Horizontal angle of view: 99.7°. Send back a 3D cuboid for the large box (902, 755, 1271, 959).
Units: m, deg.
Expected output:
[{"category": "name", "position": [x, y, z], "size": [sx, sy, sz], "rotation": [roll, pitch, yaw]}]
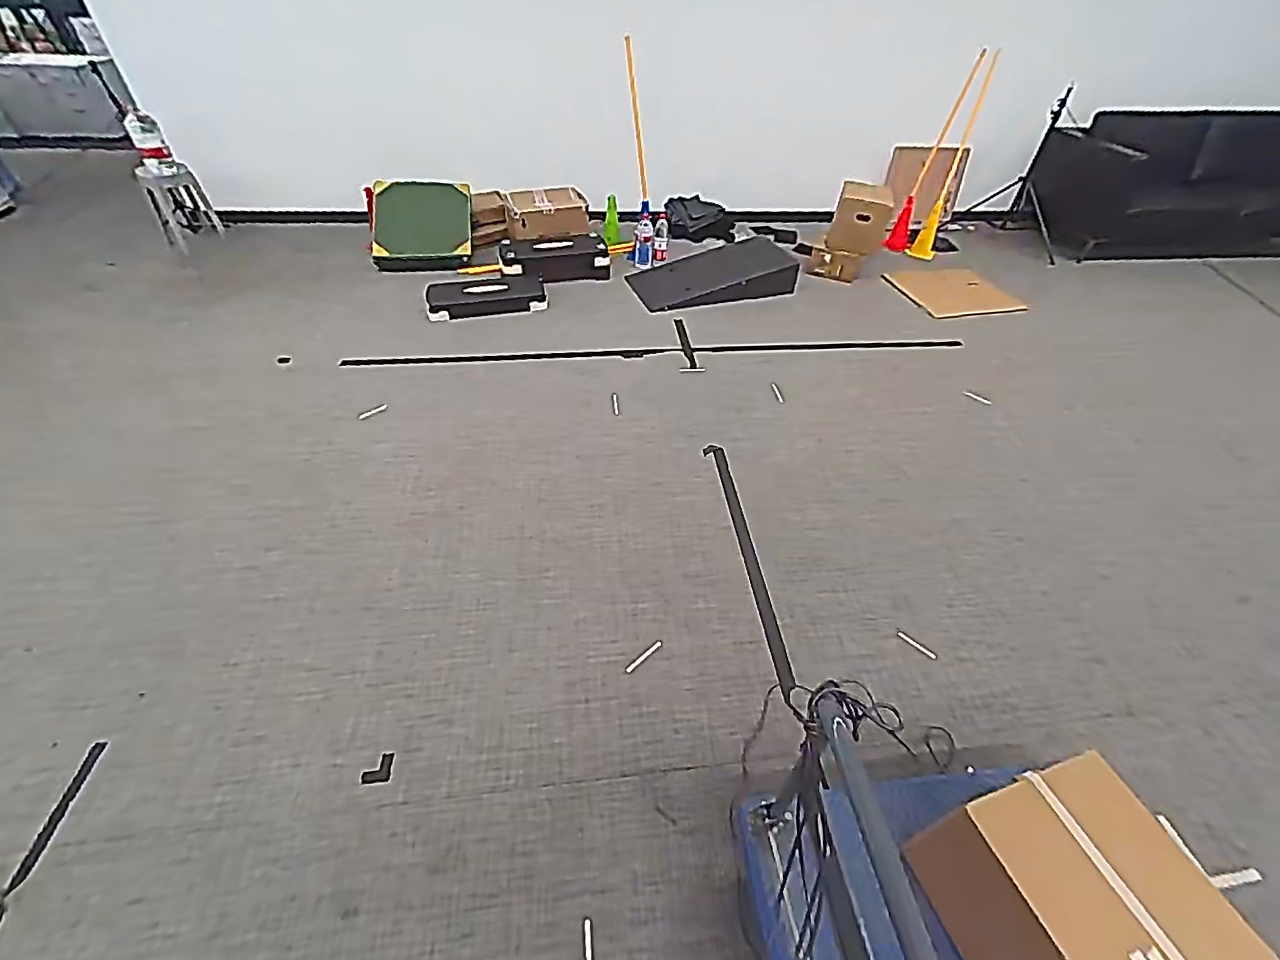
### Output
[{"category": "large box", "position": [0.760, 0.780, 0.947], "size": [0.320, 0.320, 0.408], "rotation": [-12, 47, -14]}]
